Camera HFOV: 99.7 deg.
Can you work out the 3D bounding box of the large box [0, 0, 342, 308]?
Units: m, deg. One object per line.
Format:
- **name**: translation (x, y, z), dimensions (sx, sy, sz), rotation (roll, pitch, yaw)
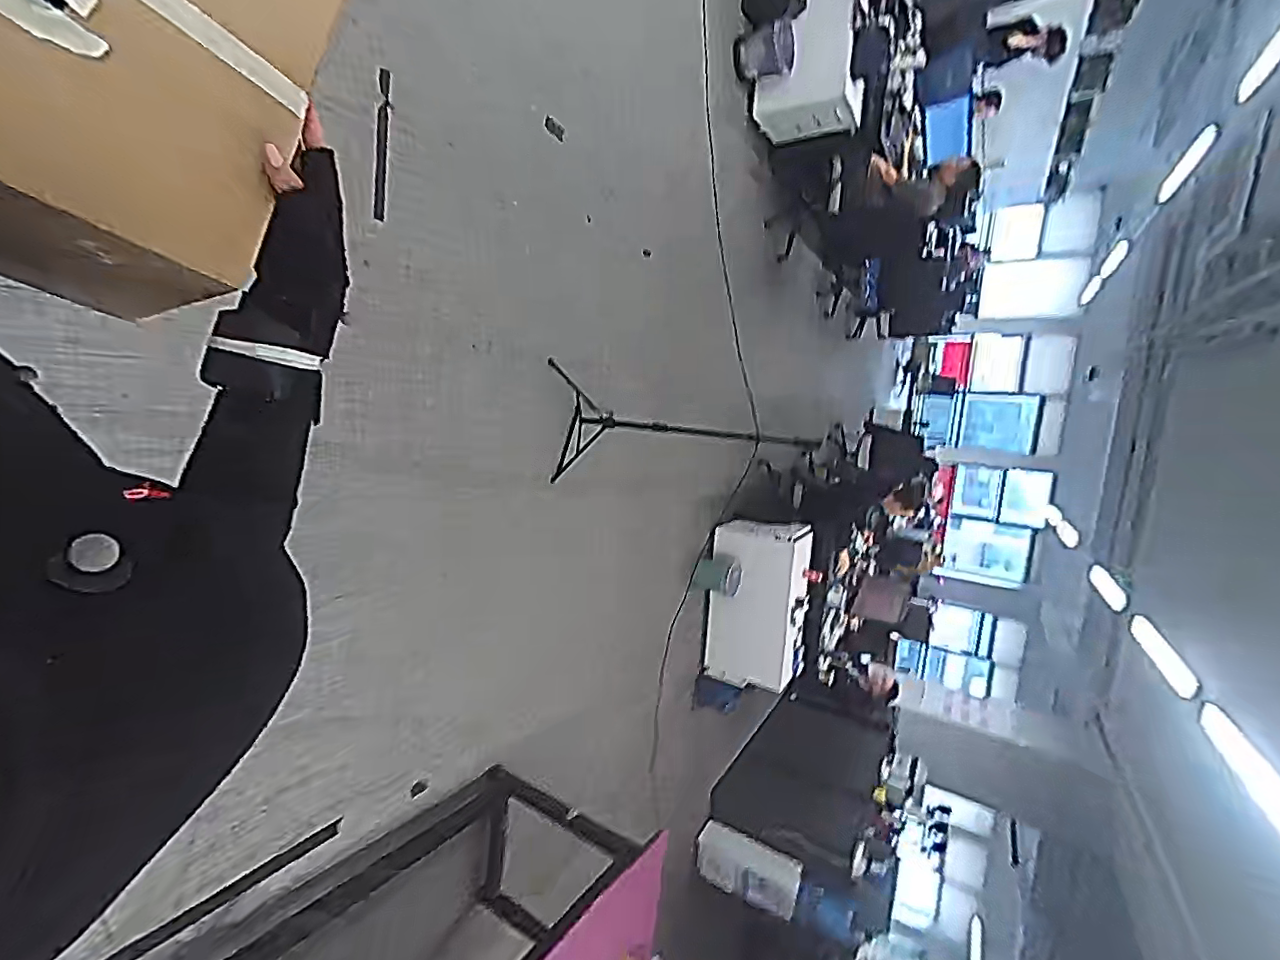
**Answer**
- **large box**: translation (-0.503, -0.359, 0.363), dimensions (0.408, 0.320, 0.320), rotation (24, 77, -55)
